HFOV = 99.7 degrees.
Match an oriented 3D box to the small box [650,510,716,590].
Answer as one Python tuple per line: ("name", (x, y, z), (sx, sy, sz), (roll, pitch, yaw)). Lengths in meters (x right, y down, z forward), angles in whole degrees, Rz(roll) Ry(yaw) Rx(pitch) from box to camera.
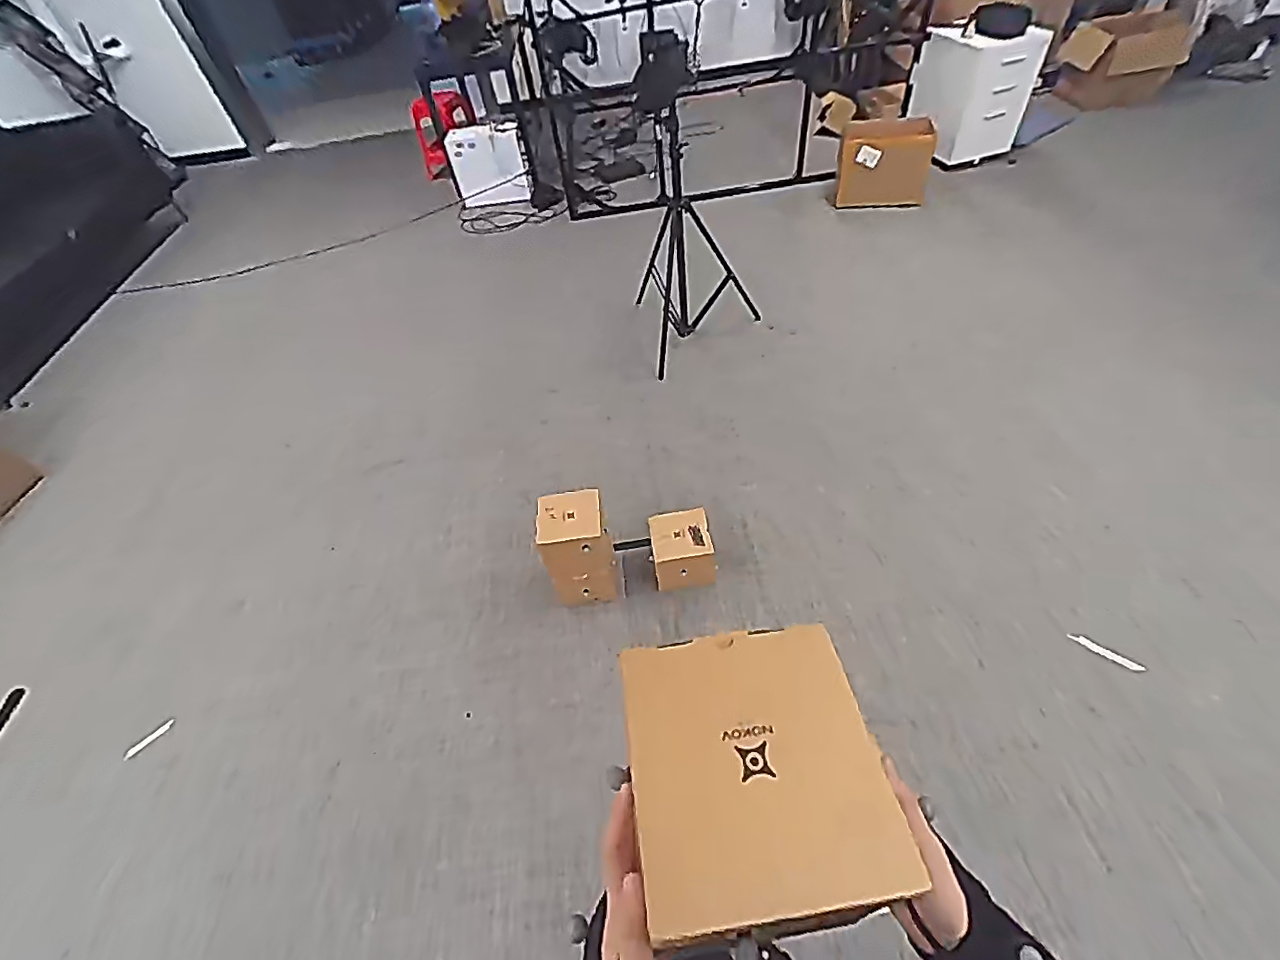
("small box", (0.131, 0.215, 1.638), (0.179, 0.176, 0.168), (-10, 49, 2))

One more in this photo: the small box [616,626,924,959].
("small box", (0.077, 0.242, 0.418), (0.168, 0.176, 0.179), (-7, 44, -5))

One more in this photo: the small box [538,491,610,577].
("small box", (-0.179, 0.153, 1.520), (0.179, 0.176, 0.168), (-8, 48, 2))
